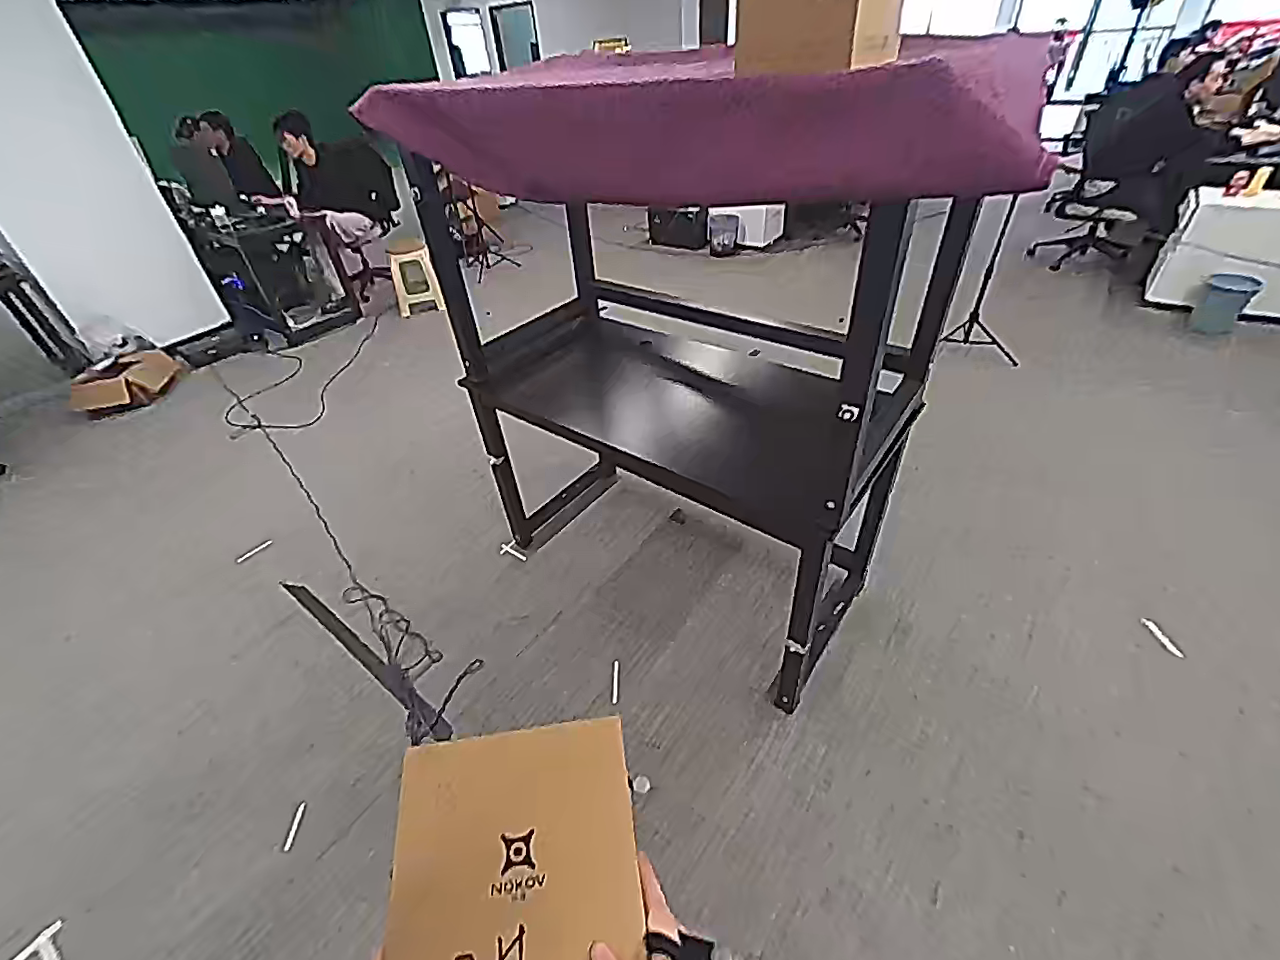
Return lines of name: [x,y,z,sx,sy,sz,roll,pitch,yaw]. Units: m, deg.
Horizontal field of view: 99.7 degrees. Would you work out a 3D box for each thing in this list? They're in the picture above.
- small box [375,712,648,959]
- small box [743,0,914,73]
small box: [-0.086,0.302,0.421,0.168,0.176,0.179,-6,54,-6]
small box: [0.253,-0.651,0.711,0.179,0.176,0.168,25,47,33]
